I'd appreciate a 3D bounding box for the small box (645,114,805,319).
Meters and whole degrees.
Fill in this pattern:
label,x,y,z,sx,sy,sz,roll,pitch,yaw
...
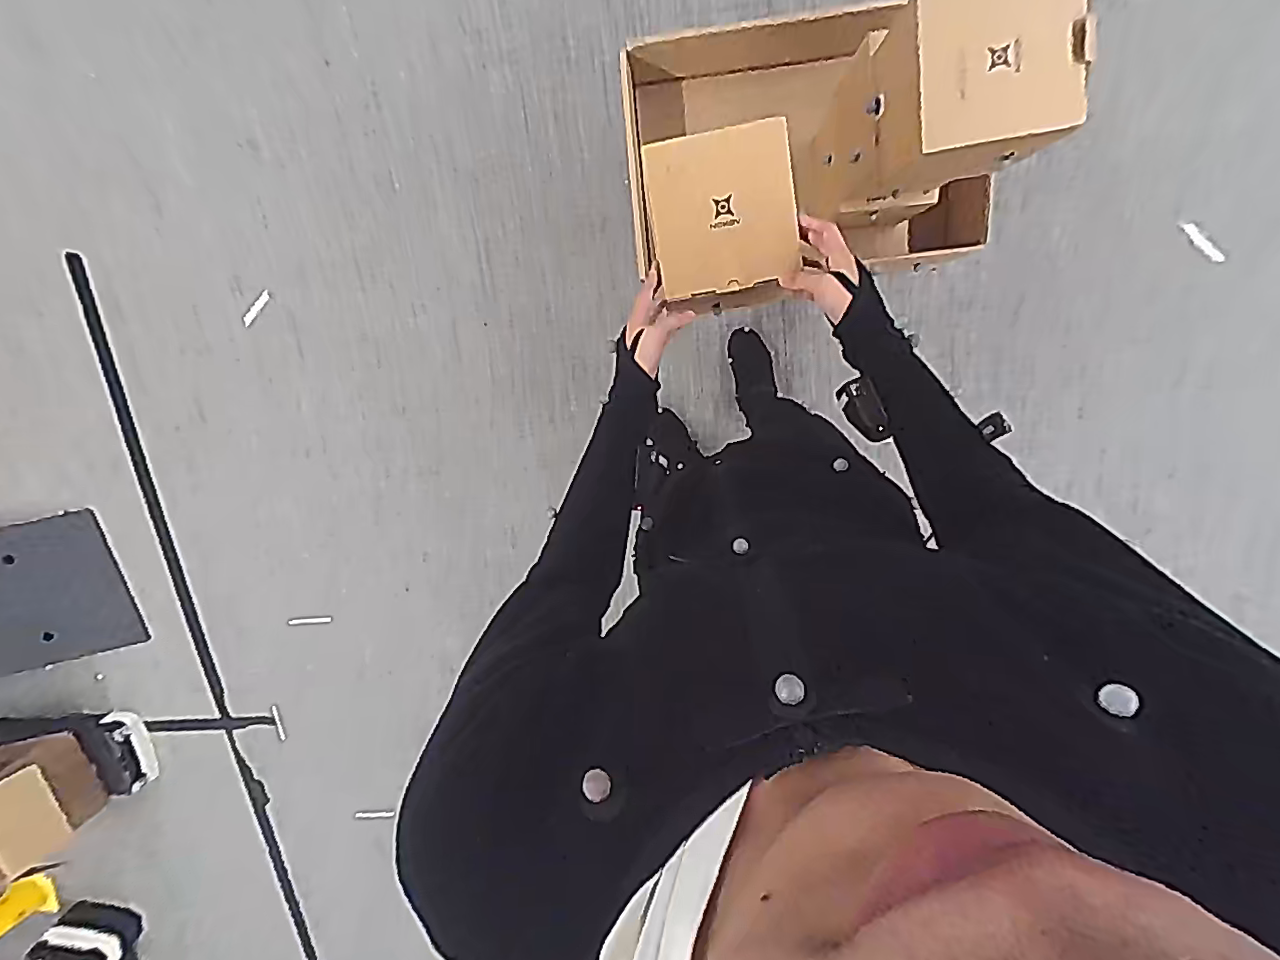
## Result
label,x,y,z,sx,sy,sz,roll,pitch,yaw
small box,0.101,-0.319,0.693,0.168,0.176,0.179,-9,97,5

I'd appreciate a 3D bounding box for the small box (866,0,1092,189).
label,x,y,z,sx,sy,sz,roll,pitch,yaw
small box,0.393,-0.475,0.654,0.179,0.176,0.168,-8,102,5
